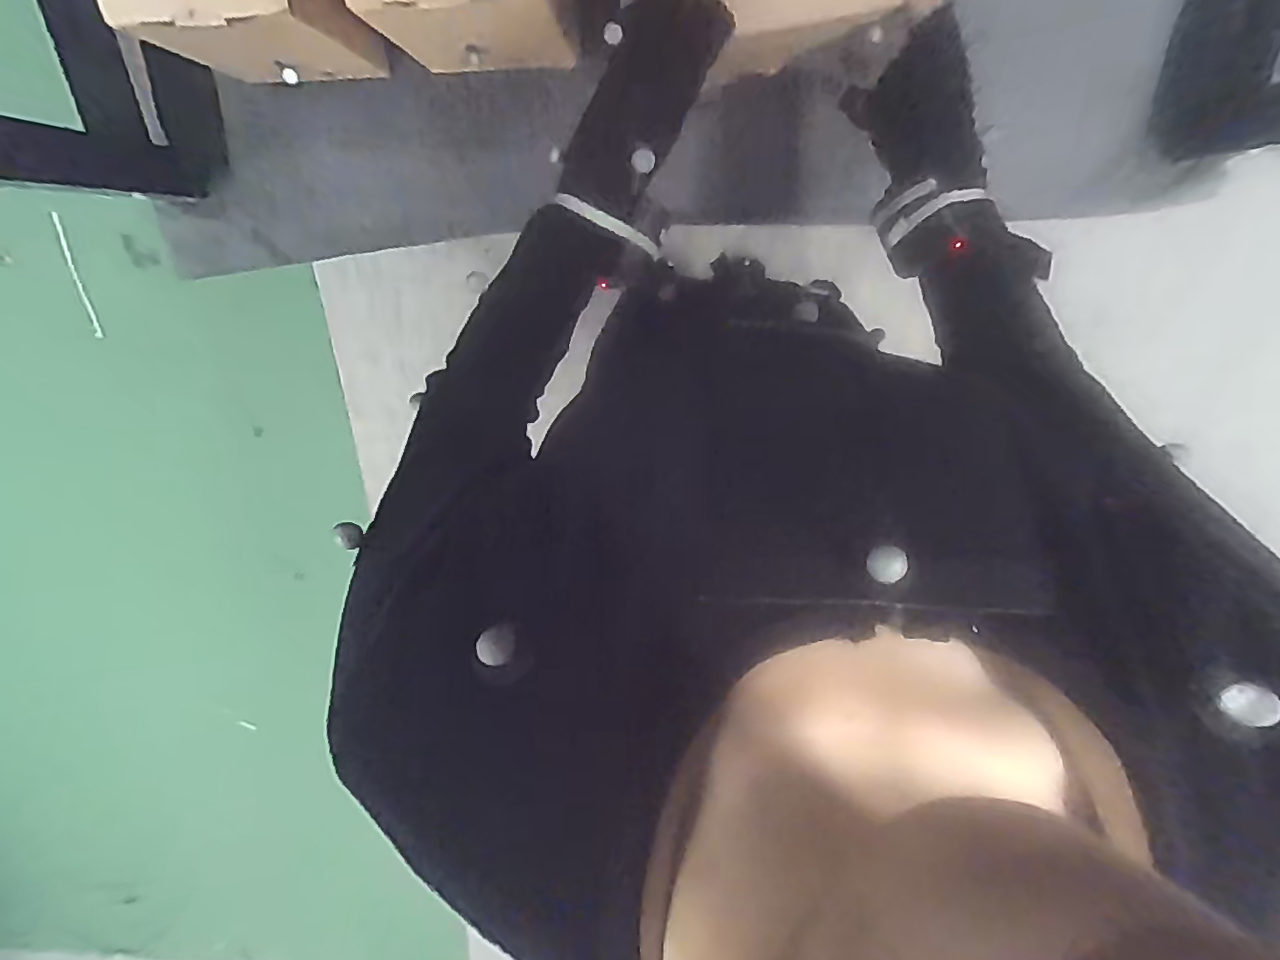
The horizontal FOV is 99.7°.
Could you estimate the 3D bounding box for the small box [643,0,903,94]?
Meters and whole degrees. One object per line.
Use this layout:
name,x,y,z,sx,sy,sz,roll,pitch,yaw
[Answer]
small box,0.094,-0.420,0.399,0.168,0.176,0.179,-15,117,-7
